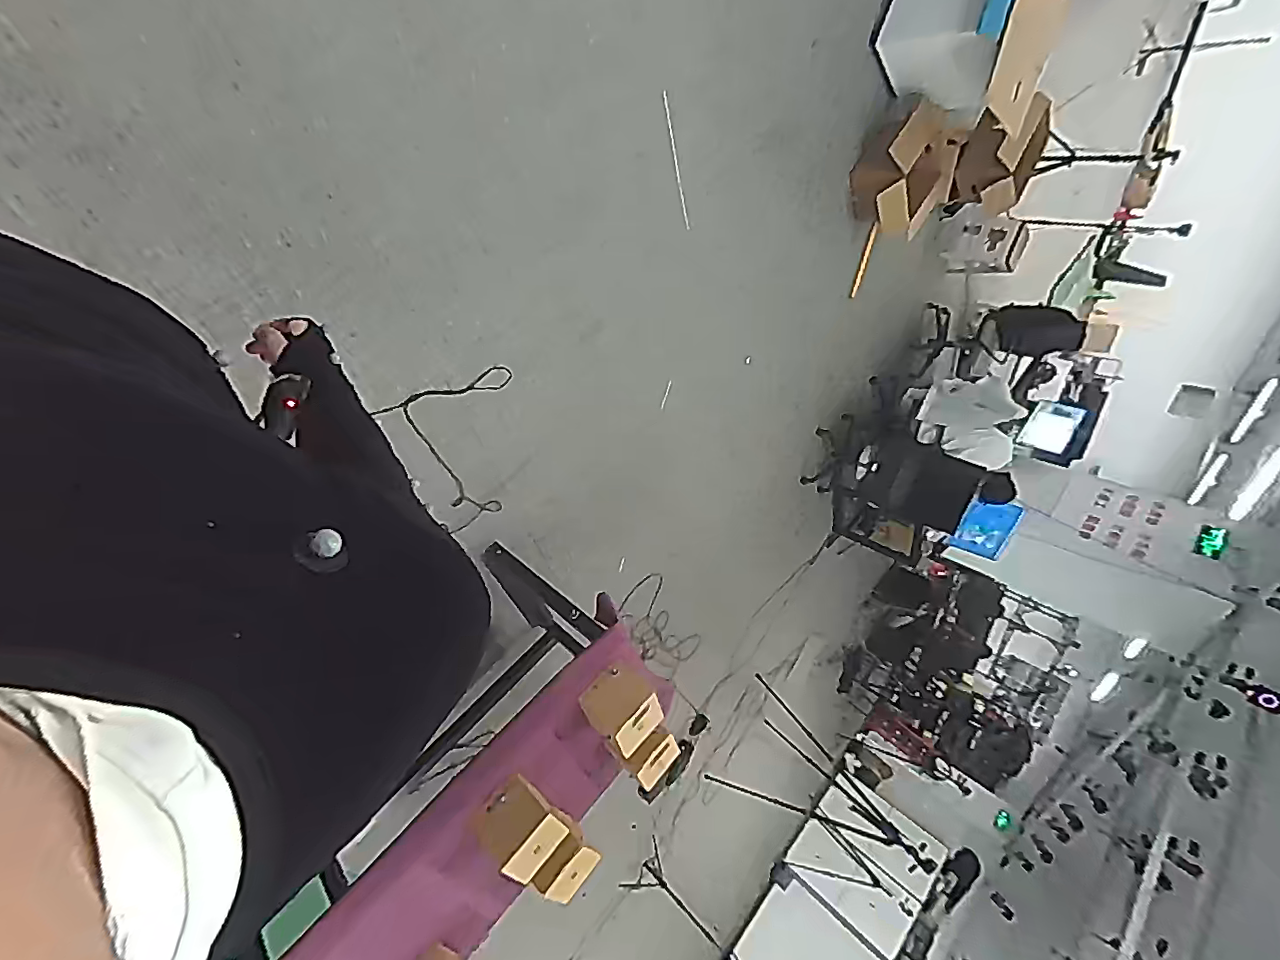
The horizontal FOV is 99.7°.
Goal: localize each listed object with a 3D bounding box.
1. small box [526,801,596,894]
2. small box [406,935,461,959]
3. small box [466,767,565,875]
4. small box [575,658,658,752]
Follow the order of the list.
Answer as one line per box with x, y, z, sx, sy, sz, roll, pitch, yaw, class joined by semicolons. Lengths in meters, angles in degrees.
-0.272;1.142;1.687;0.168;0.176;0.179;-45;138;-21;small box
-0.576;1.418;1.495;0.168;0.176;0.179;-39;136;-29;small box
-0.339;0.924;1.474;0.168;0.176;0.179;-43;139;-25;small box
-0.071;0.668;1.626;0.168;0.176;0.179;-40;139;-26;small box
